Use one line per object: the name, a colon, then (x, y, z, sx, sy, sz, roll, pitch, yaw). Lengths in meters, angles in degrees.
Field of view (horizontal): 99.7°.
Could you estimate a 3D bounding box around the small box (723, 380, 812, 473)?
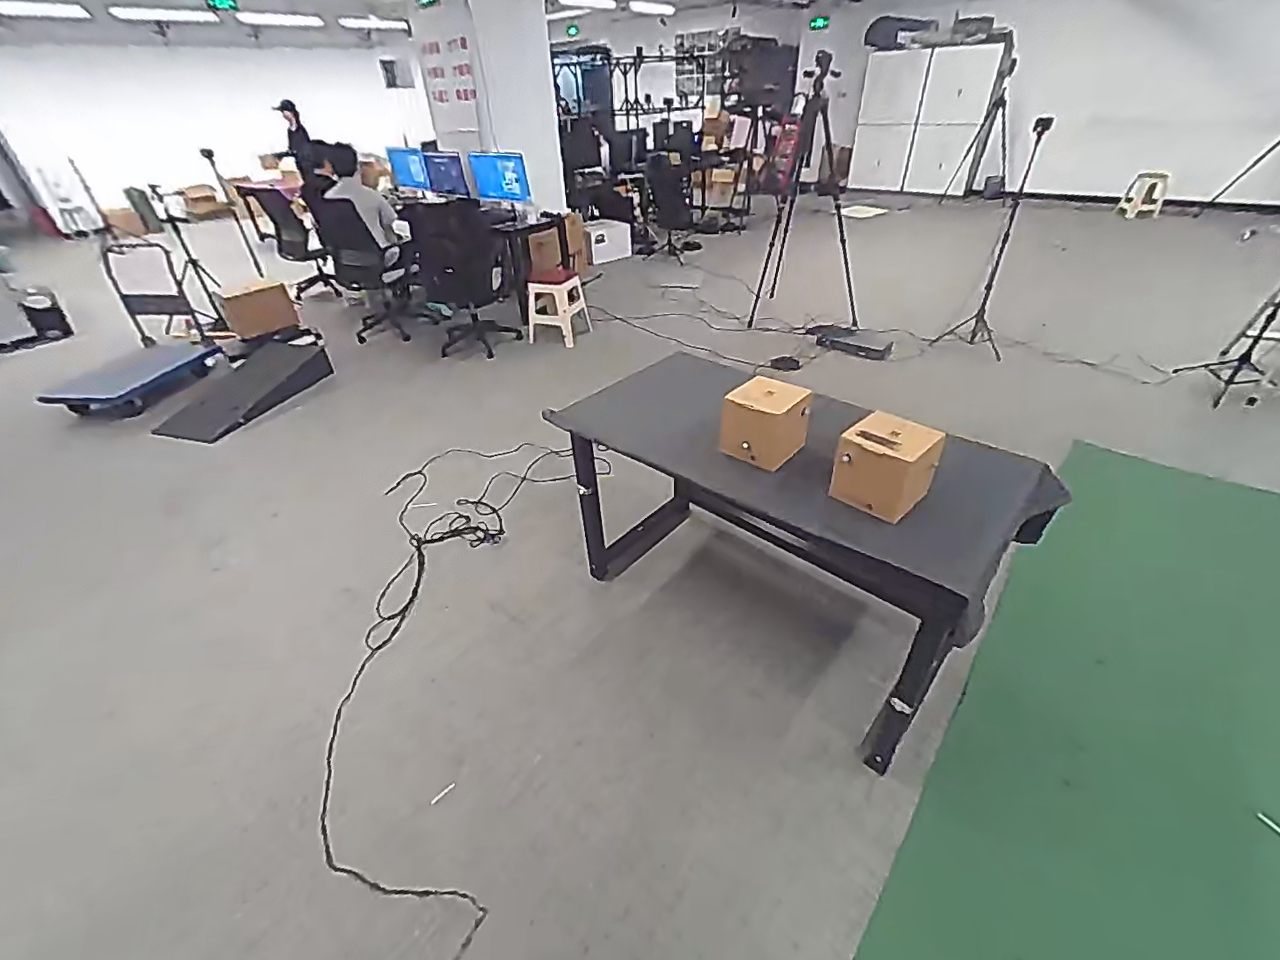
small box: (0.333, -0.145, 1.445, 0.168, 0.176, 0.179, 25, 43, 34)
